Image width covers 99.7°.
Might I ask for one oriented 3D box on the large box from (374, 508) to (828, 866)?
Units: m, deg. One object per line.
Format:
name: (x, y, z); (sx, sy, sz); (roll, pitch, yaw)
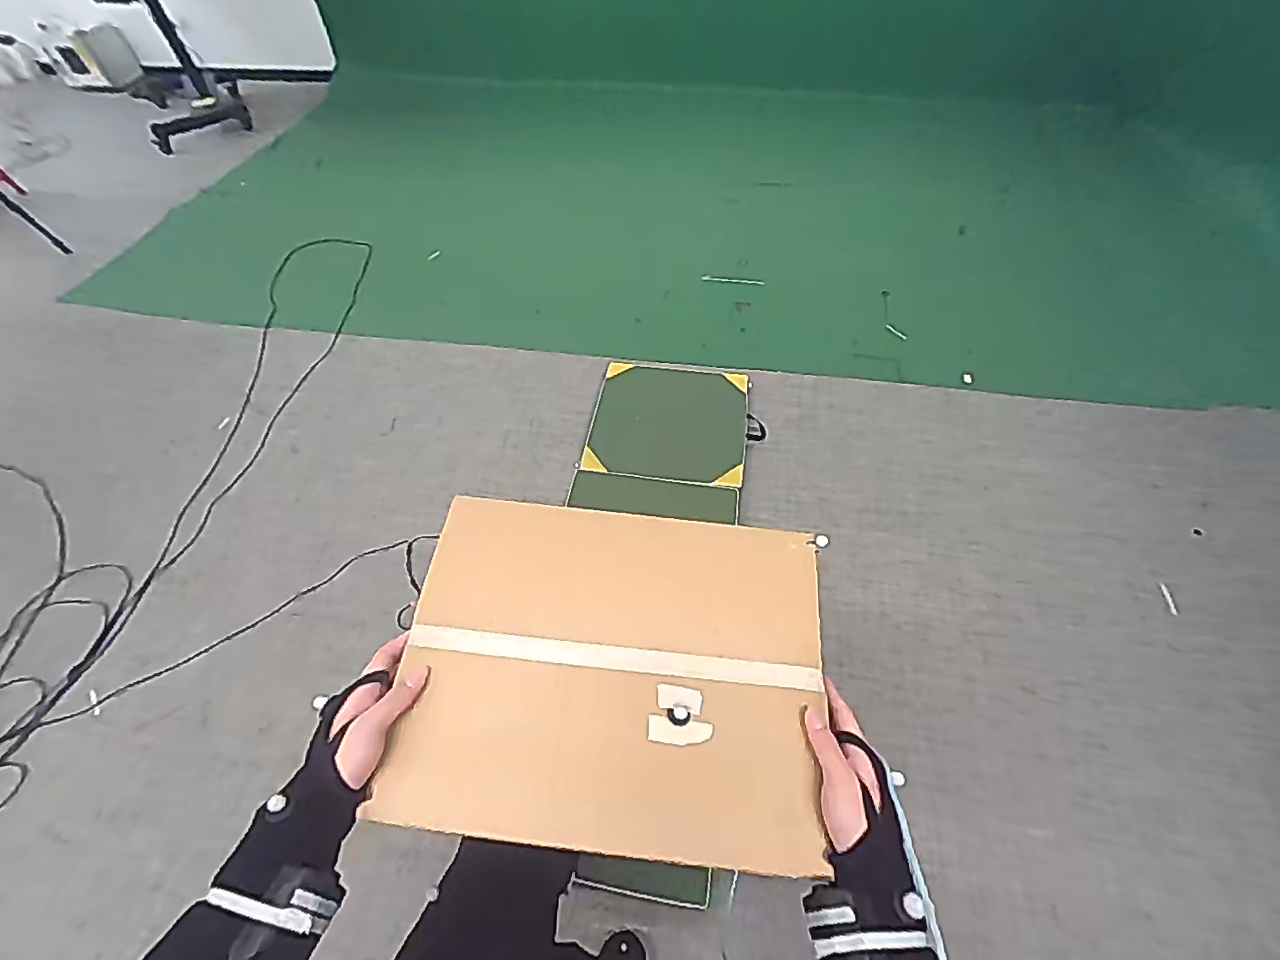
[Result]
large box: (-0.029, 0.257, 0.667); (0.408, 0.320, 0.320); (6, 60, 1)
